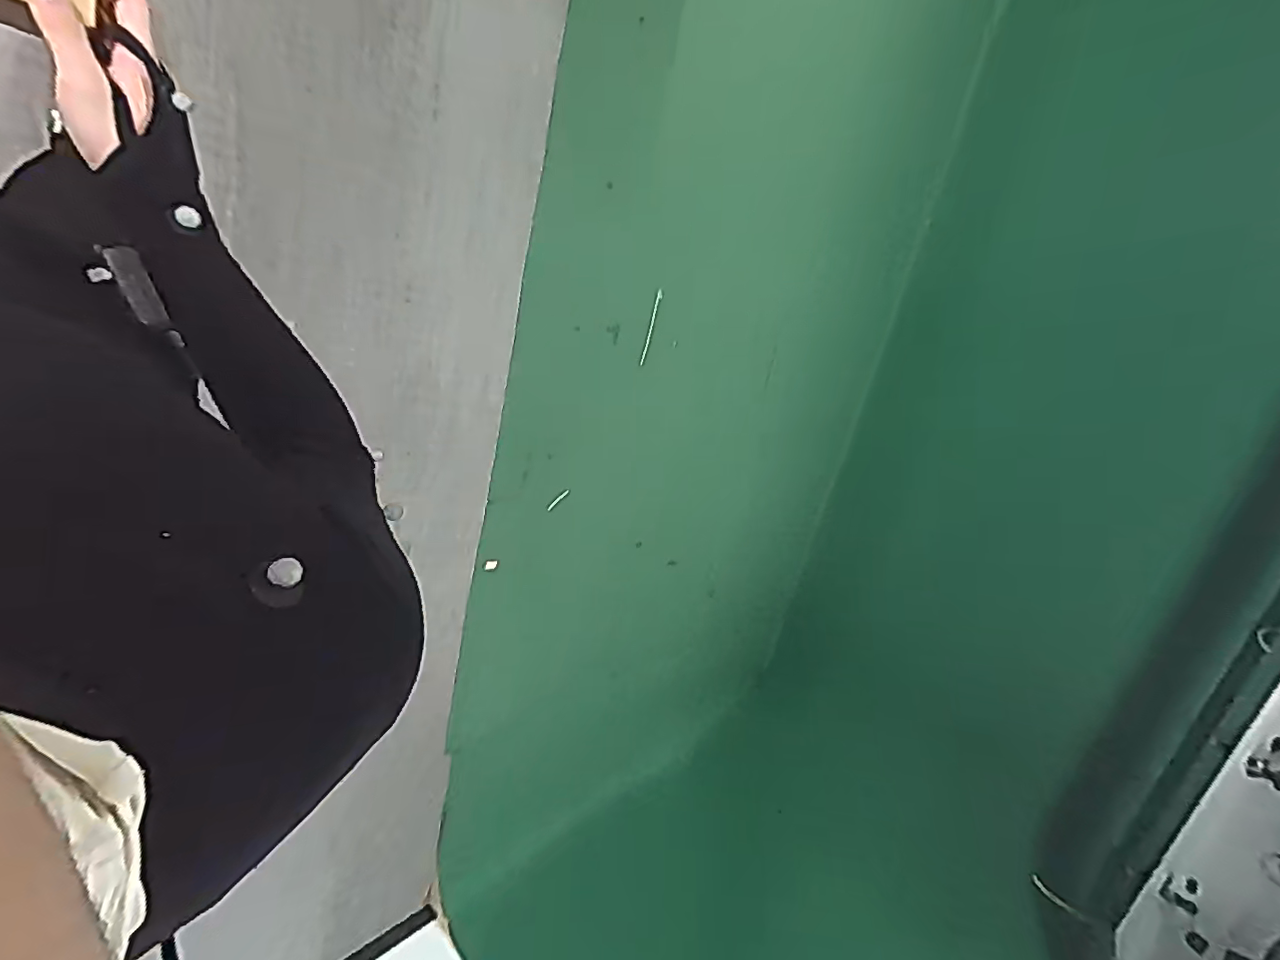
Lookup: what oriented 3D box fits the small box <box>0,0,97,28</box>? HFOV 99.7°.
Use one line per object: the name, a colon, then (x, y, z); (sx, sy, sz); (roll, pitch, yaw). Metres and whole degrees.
small box: (-0.456, -0.413, 0.325); (0.179, 0.176, 0.168); (-3, 116, -49)
